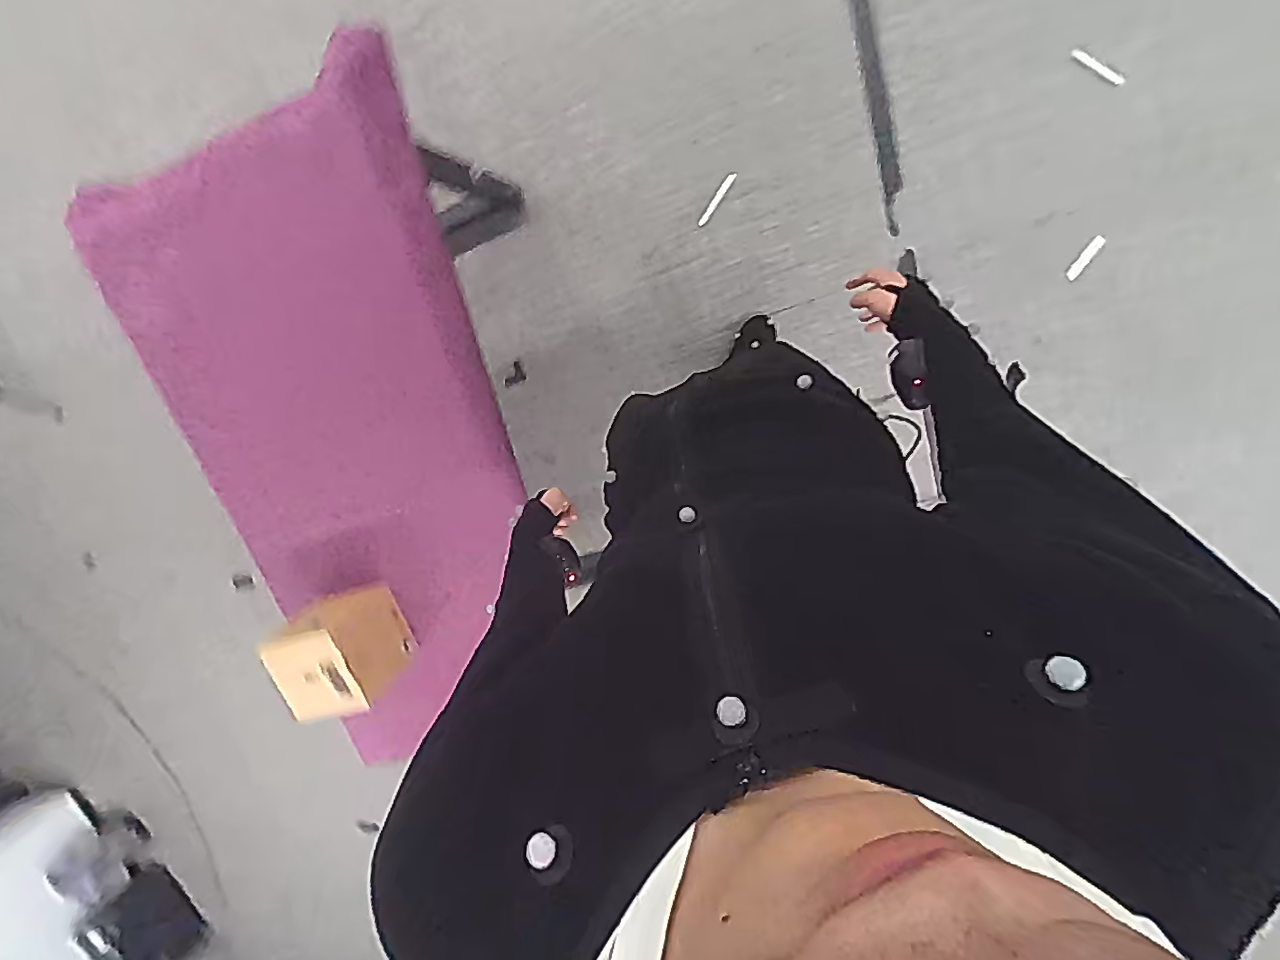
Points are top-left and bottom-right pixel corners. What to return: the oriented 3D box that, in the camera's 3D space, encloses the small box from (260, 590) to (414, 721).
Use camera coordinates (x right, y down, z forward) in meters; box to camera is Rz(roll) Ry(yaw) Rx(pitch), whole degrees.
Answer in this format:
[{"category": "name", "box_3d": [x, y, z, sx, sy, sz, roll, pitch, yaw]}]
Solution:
[{"category": "small box", "box_3d": [-0.574, 0.335, 1.055, 0.179, 0.176, 0.168, -16, 105, 16]}]
